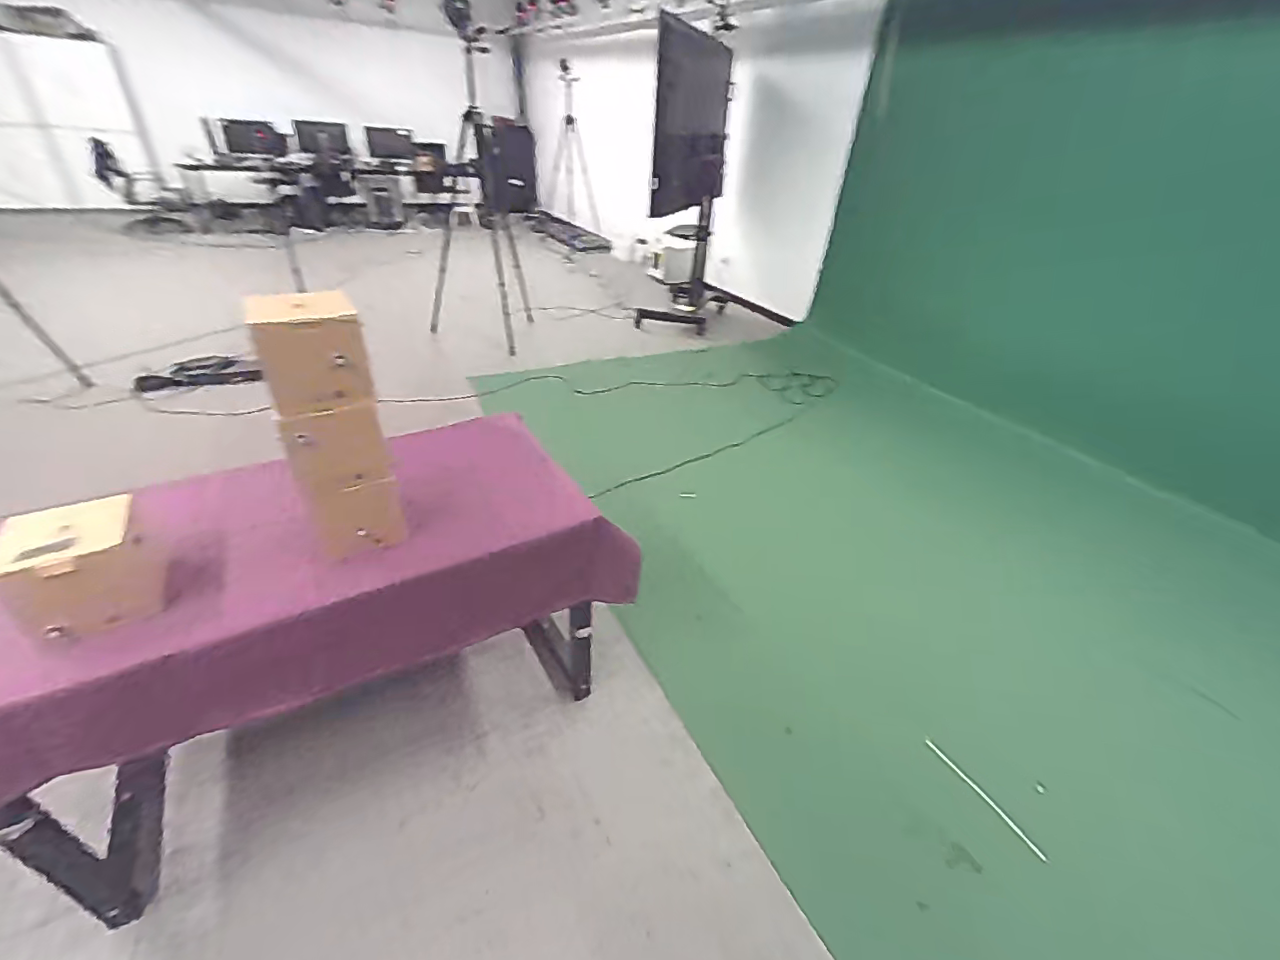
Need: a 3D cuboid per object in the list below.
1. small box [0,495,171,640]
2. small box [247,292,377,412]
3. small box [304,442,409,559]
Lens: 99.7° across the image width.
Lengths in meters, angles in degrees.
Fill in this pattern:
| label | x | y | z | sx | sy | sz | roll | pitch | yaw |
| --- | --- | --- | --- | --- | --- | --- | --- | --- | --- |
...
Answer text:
| label | x | y | z | sx | sy | sz | roll | pitch | yaw |
| --- | --- | --- | --- | --- | --- | --- | --- | --- | --- |
| small box | -0.975 | 0.158 | 0.963 | 0.168 | 0.176 | 0.179 | -17 | 38 | -29 |
| small box | -0.602 | -0.235 | 1.000 | 0.168 | 0.176 | 0.179 | -17 | 38 | -29 |
| small box | -0.615 | 0.041 | 1.176 | 0.168 | 0.176 | 0.179 | -15 | 38 | -26 |
